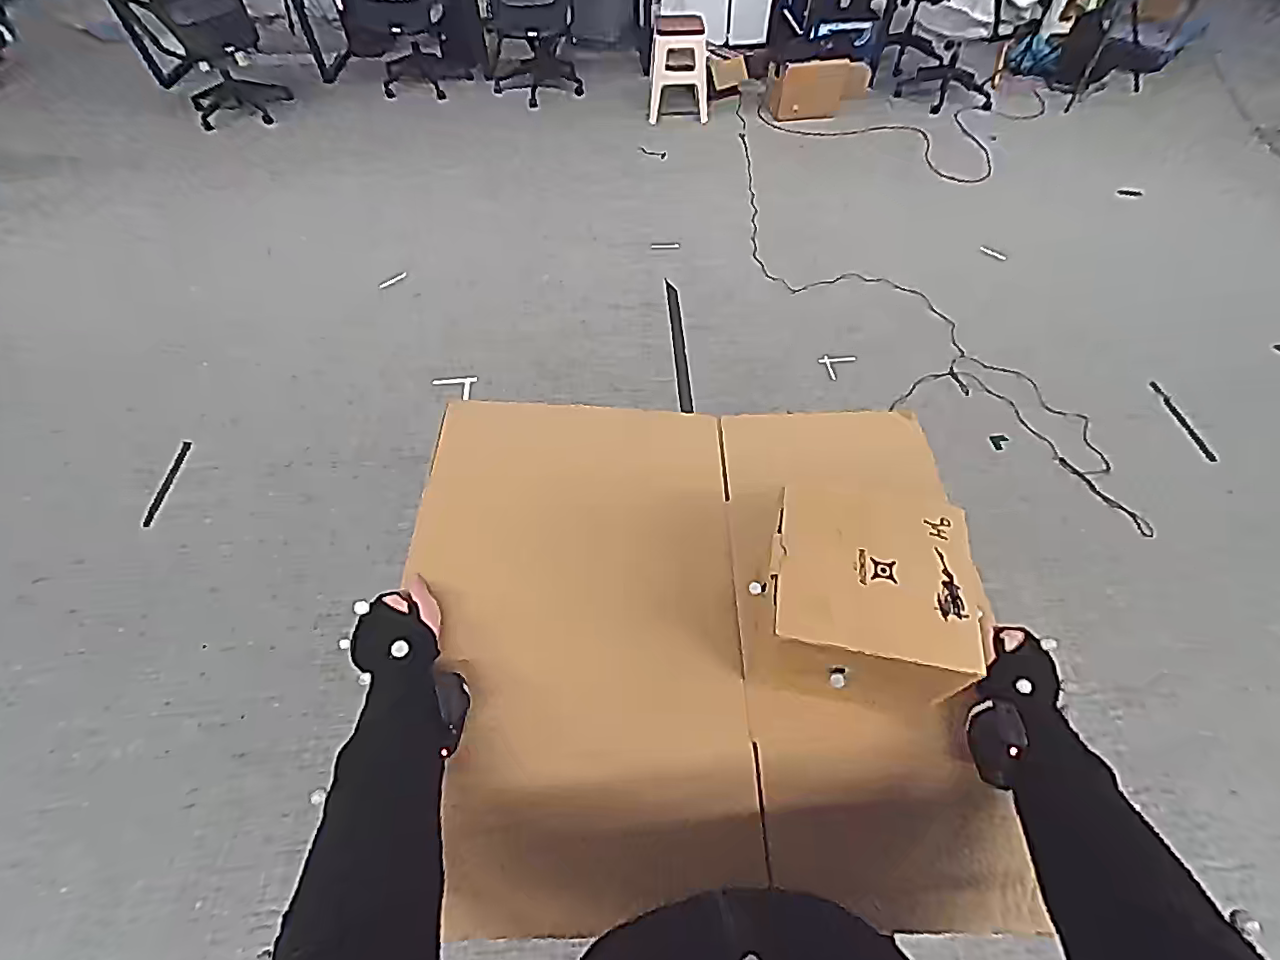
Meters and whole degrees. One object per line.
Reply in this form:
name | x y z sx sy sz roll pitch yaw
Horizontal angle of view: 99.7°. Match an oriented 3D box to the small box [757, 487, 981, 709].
small box | 0.224 0.130 0.575 0.179 0.176 0.168 8 57 10
